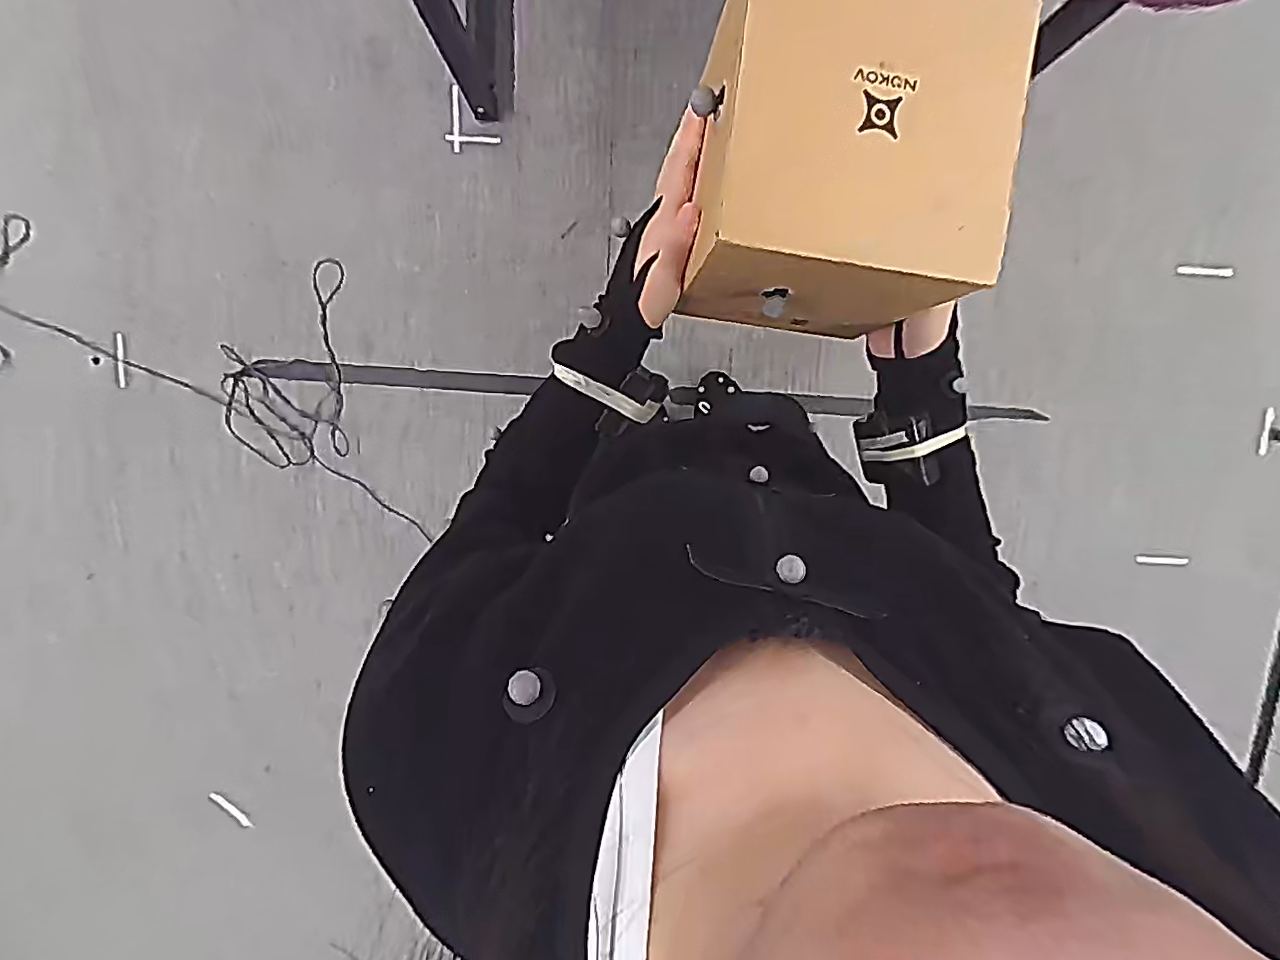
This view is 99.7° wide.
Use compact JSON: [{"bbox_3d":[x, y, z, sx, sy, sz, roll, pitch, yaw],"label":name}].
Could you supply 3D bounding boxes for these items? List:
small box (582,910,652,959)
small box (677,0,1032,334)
[{"bbox_3d":[-0.054,1.185,1.297,0.168,0.176,0.179,0,98,-2],"label":"small box"},{"bbox_3d":[0.124,-0.212,0.381,0.168,0.176,0.179,6,92,-6],"label":"small box"}]
